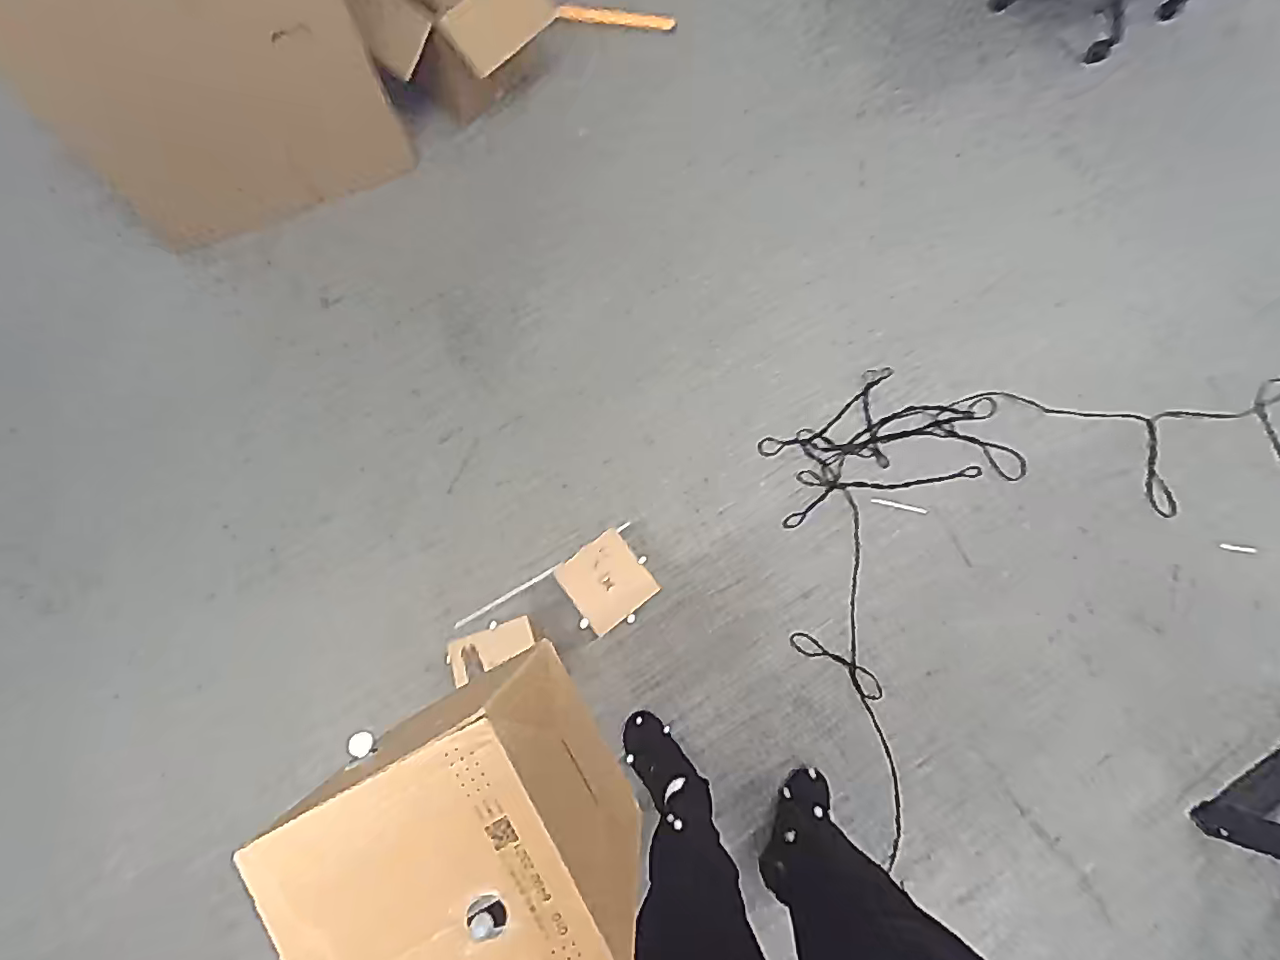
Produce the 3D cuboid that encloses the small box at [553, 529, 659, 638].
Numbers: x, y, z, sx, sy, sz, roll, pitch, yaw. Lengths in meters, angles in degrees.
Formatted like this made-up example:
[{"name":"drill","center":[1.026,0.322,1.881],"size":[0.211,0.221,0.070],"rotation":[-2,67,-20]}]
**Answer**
[{"name":"small box","center":[-0.073,0.236,1.230],"size":[0.168,0.176,0.179],"rotation":[-37,79,-10]}]
